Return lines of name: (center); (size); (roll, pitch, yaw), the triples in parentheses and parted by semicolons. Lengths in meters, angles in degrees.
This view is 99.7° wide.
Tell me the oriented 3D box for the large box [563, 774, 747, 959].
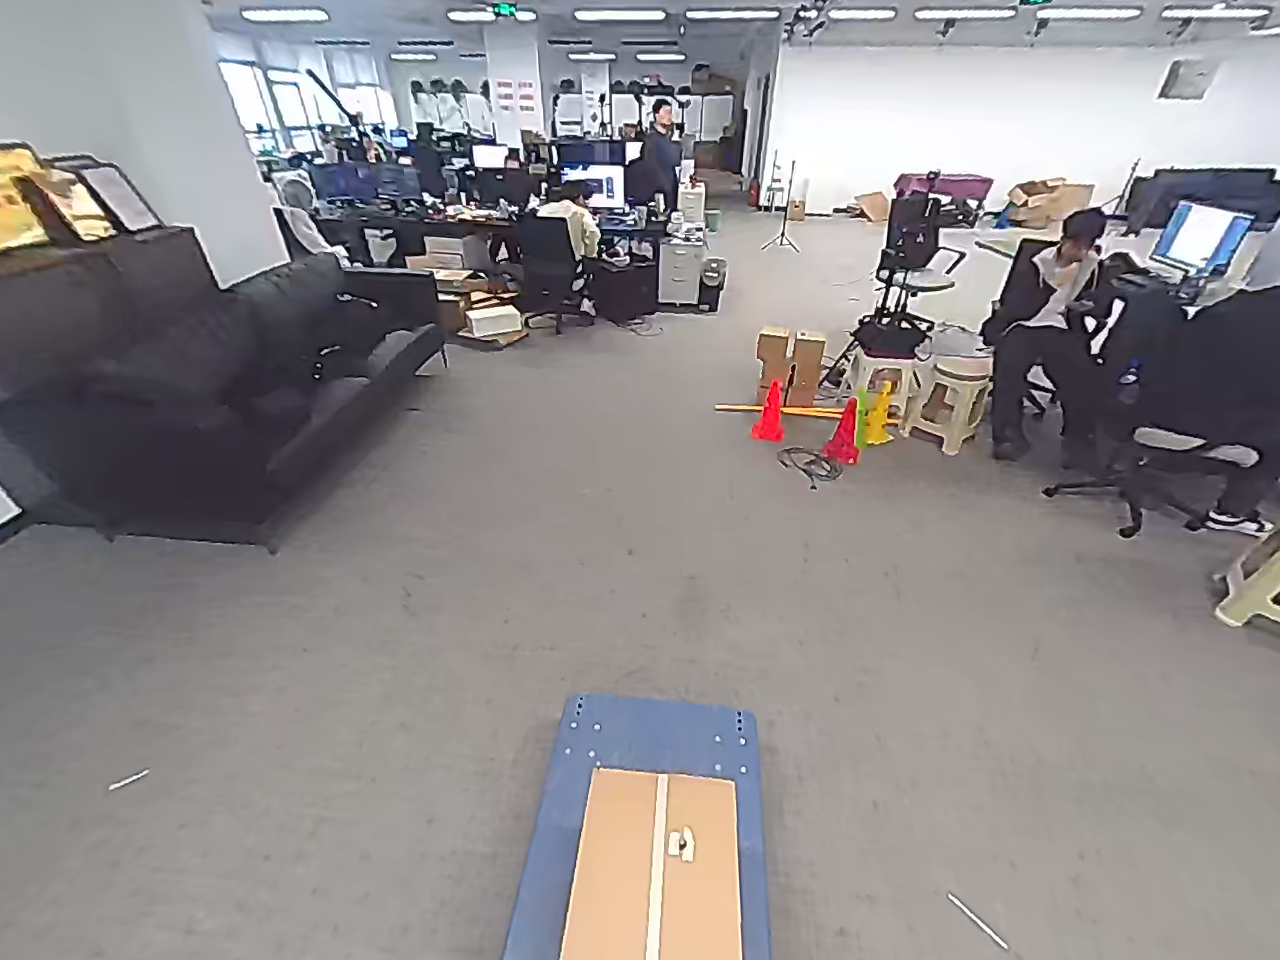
large box: (0.036, 0.878, 1.081); (0.320, 0.320, 0.408); (4, 34, 4)
